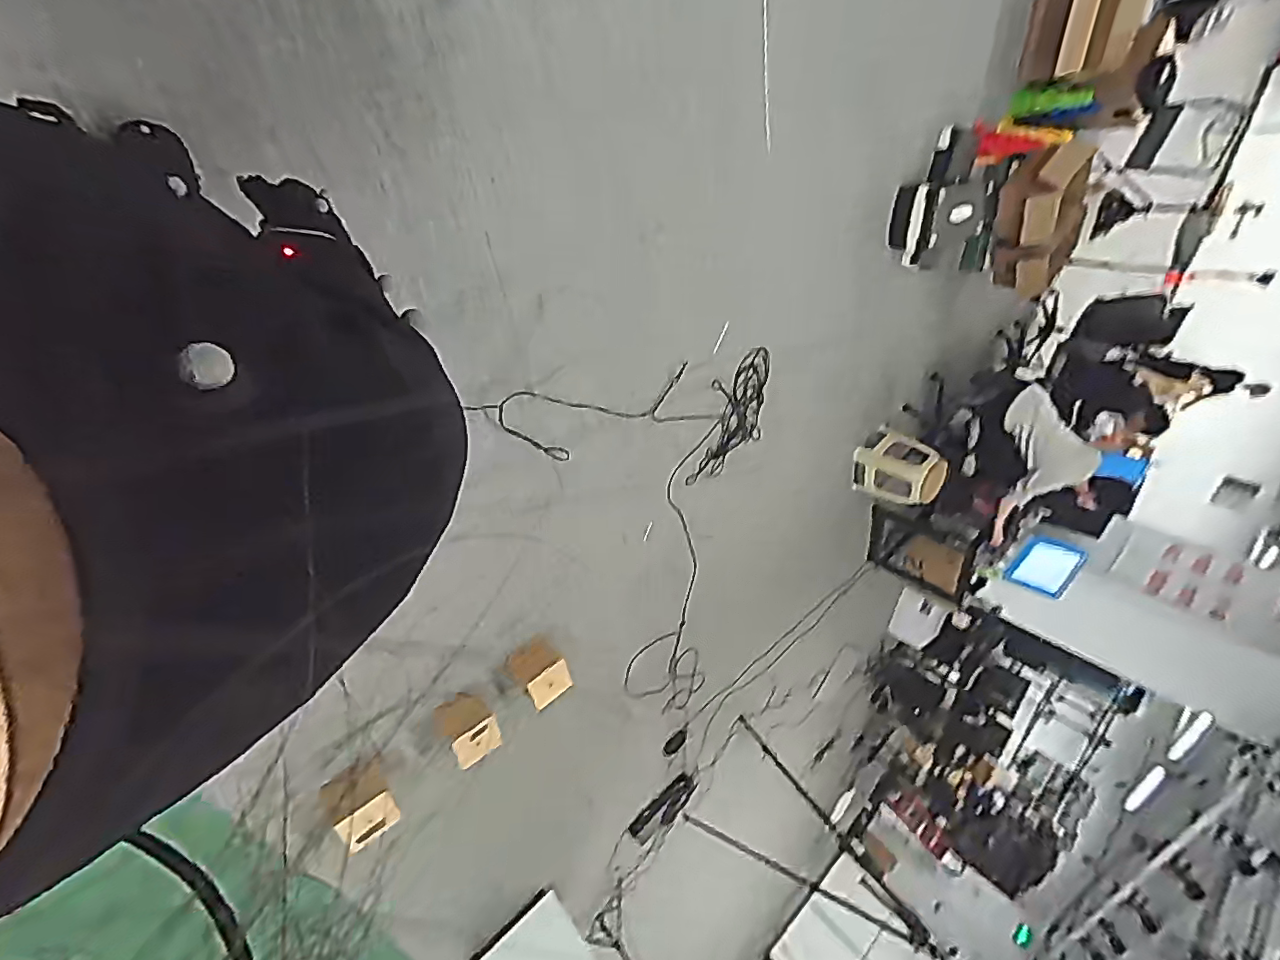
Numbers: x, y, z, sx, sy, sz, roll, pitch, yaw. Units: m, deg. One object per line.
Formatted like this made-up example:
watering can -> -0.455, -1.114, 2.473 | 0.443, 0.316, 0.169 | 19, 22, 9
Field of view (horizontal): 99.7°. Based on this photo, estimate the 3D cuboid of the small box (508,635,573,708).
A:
small box -> -0.394, 0.749, 2.137 | 0.168, 0.176, 0.179 | -32, 131, -28

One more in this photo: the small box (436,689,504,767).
small box -> -0.628, 0.902, 1.992 | 0.168, 0.176, 0.179 | -26, 129, -31
